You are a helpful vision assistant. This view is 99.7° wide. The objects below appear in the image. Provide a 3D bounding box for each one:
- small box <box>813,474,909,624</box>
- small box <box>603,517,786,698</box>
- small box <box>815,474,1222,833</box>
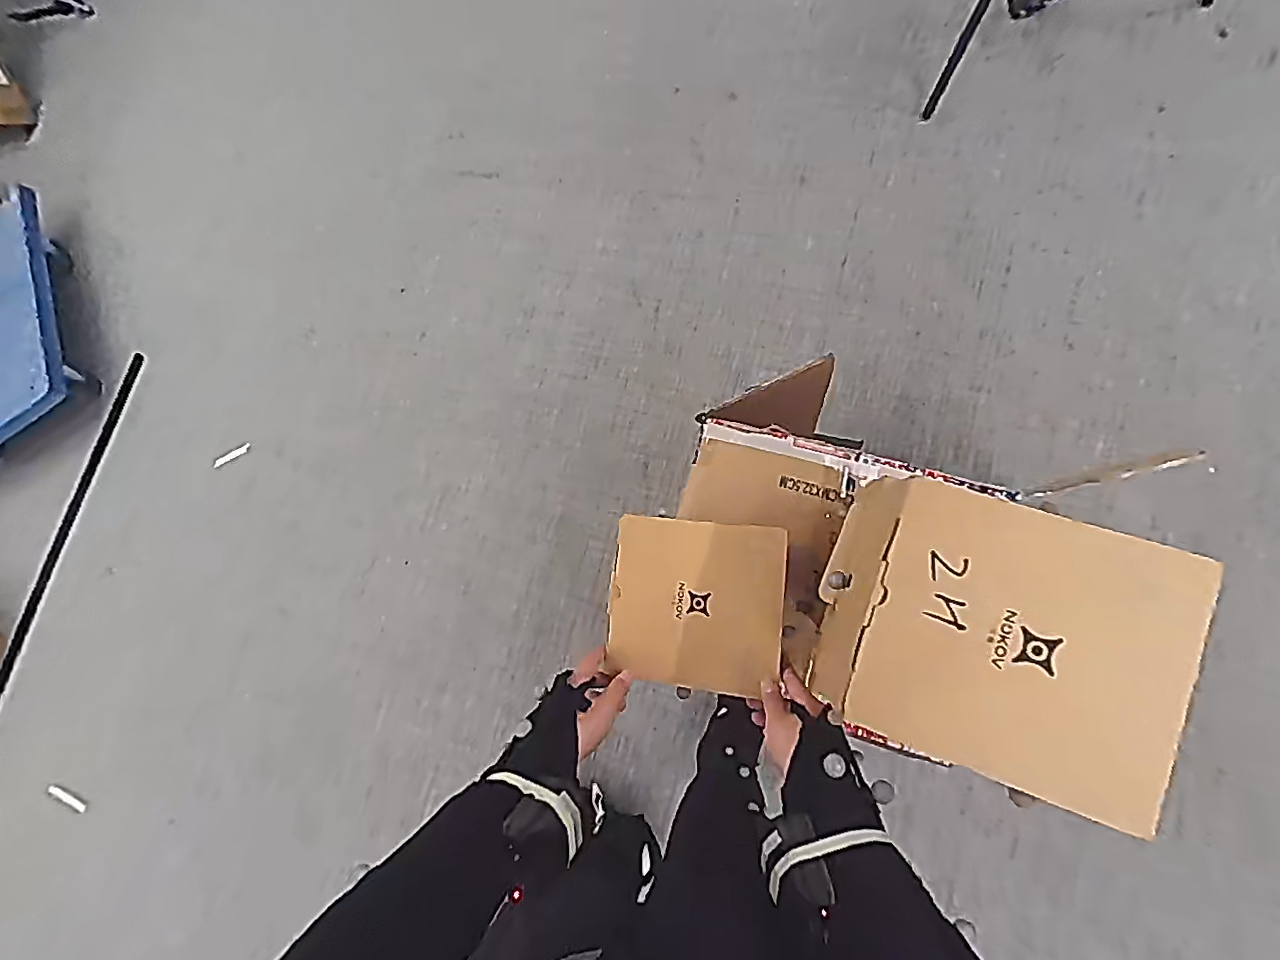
[{"bbox_3d":[0.294,0.110,0.563,0.179,0.176,0.168,21,87,14],"label":"small box"},{"bbox_3d":[0.071,0.135,0.613,0.179,0.176,0.168,2,80,15],"label":"small box"},{"bbox_3d":[0.246,0.107,0.403,0.179,0.176,0.168,18,85,15],"label":"small box"}]
